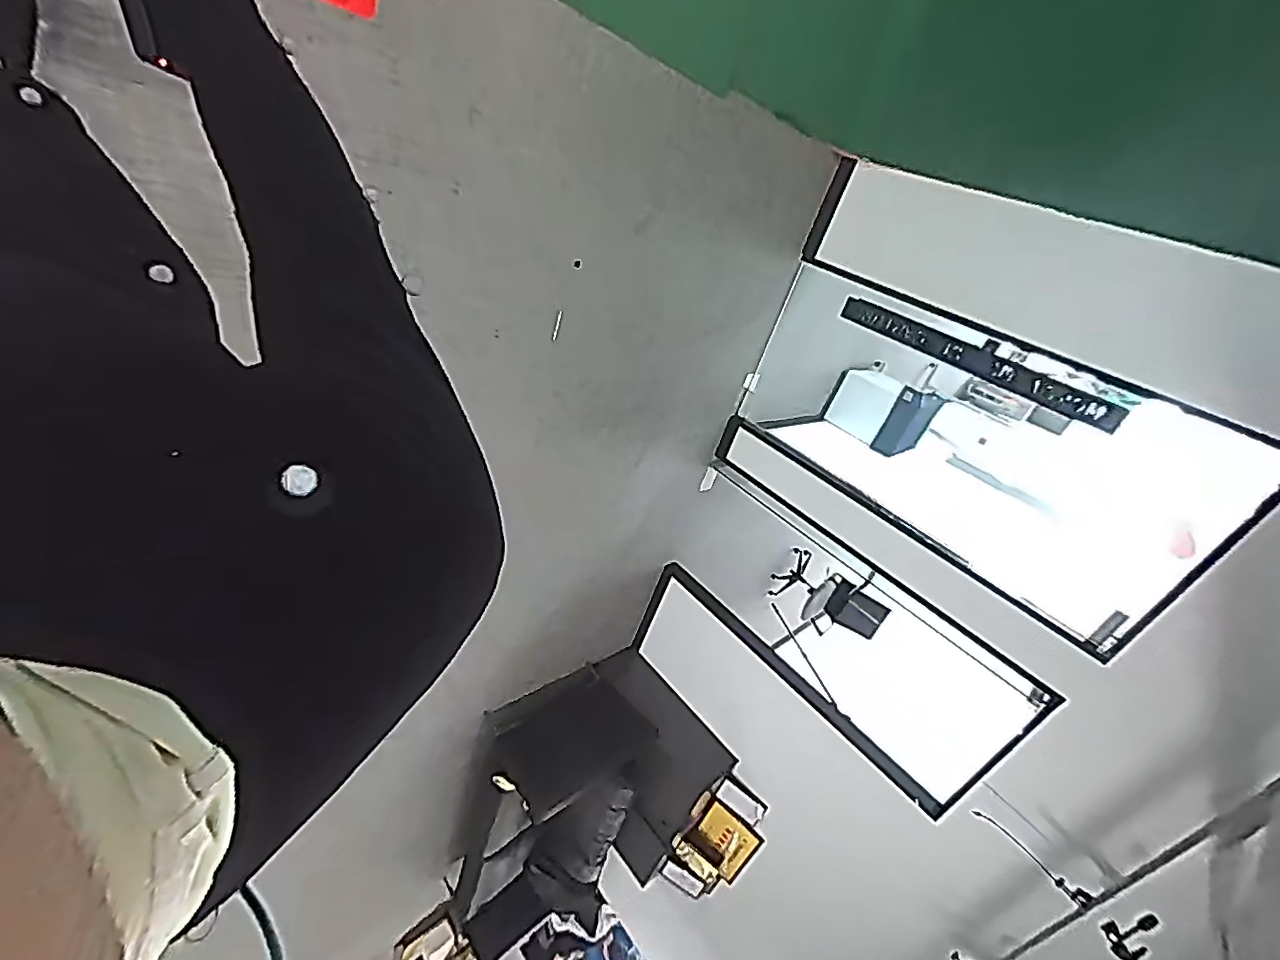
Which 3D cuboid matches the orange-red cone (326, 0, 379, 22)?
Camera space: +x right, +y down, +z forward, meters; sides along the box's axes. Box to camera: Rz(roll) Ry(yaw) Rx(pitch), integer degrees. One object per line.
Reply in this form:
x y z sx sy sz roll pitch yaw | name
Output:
-0.502 -0.976 0.982 0.198 0.360 0.199 -12 130 -45 | orange-red cone
